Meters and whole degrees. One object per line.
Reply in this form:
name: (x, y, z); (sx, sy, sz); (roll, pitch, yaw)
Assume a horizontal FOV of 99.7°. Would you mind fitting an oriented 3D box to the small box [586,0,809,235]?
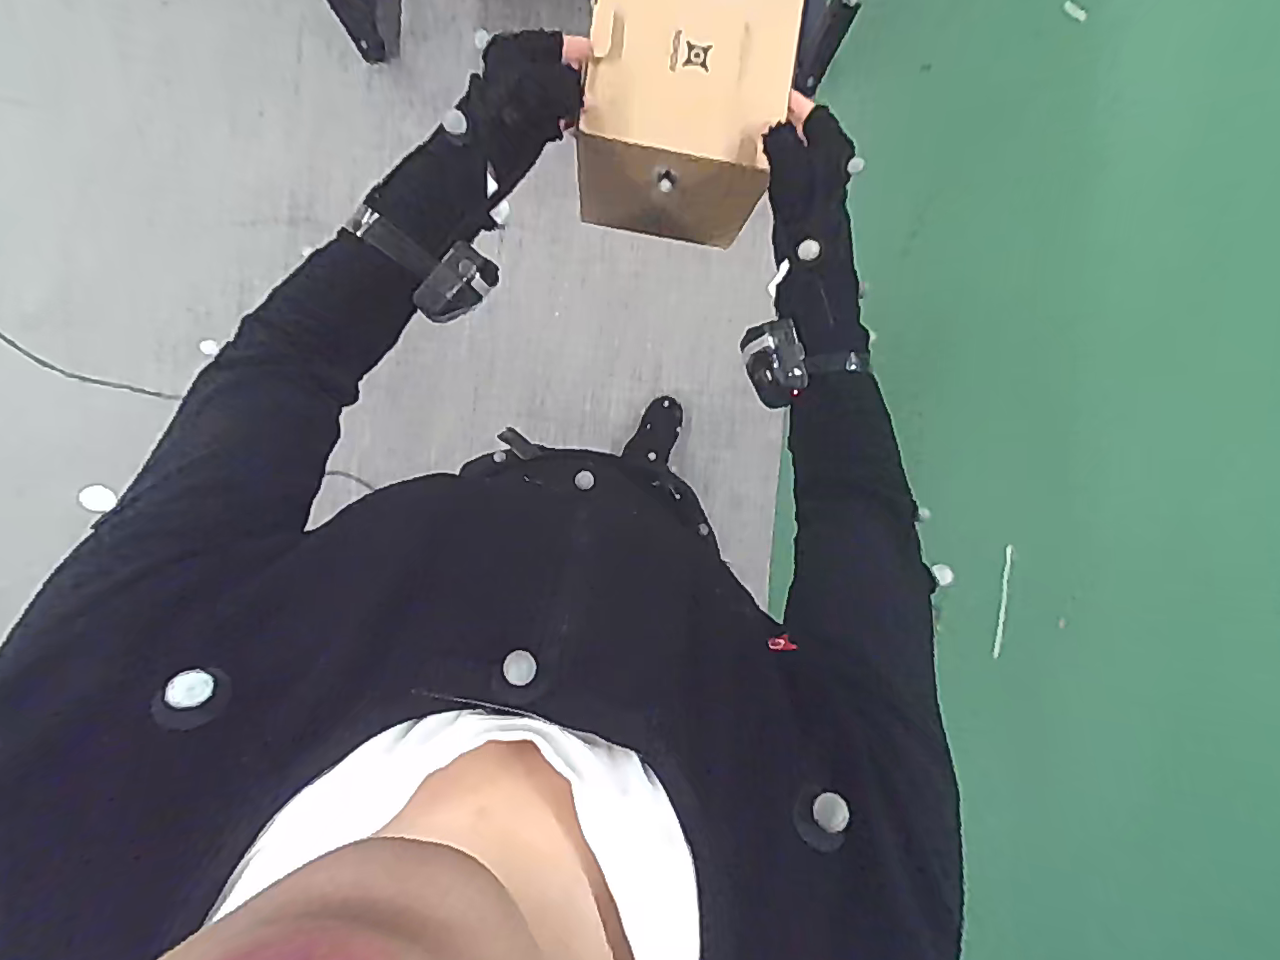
small box: (0.043, -0.365, 0.532); (0.179, 0.176, 0.168); (8, 91, -6)
